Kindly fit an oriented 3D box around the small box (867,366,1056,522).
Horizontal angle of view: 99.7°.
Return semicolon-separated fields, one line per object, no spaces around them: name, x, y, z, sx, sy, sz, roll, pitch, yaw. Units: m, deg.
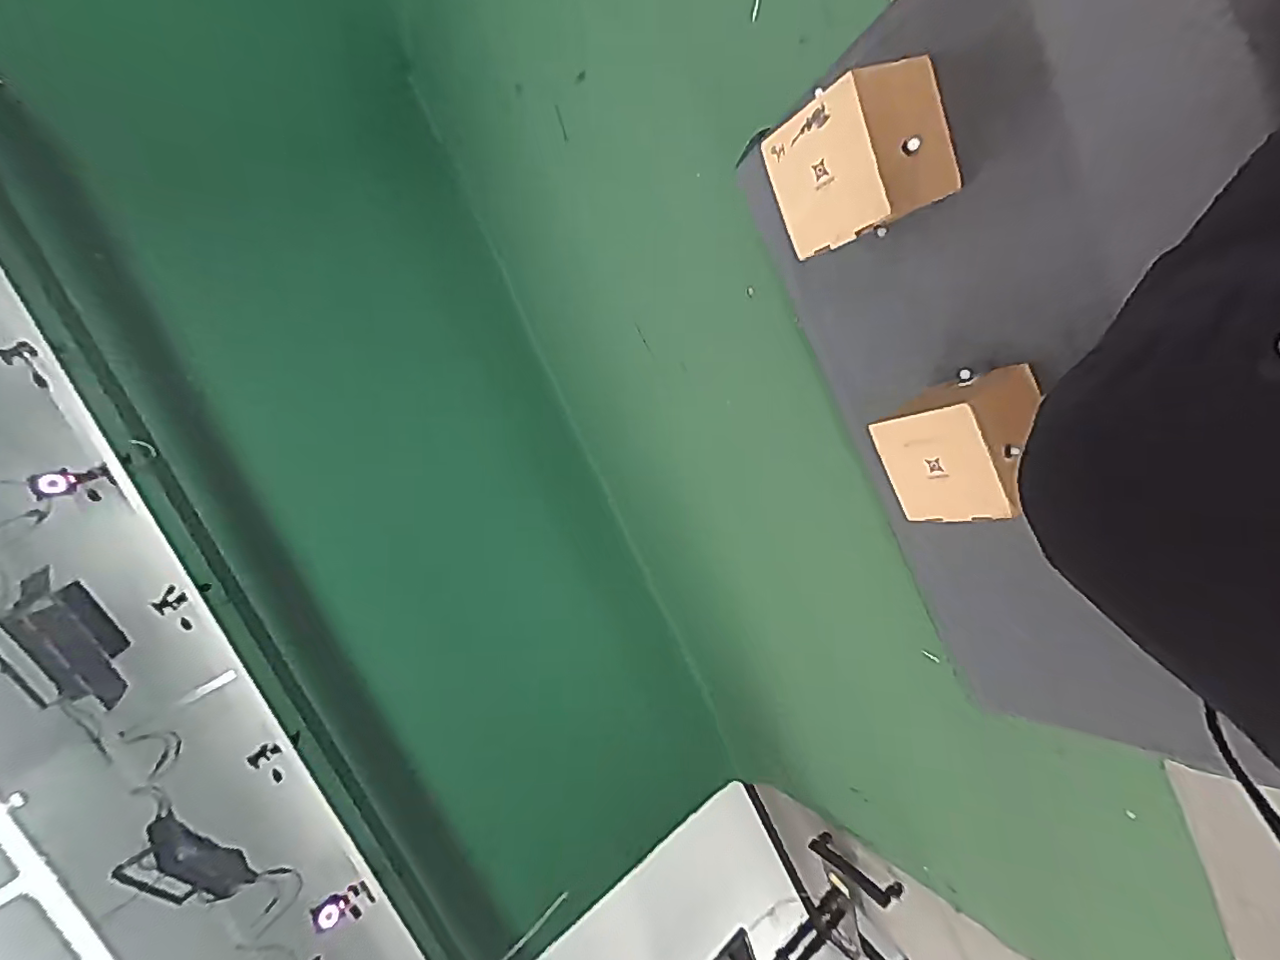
small box;0.496;-0.051;0.834;0.168;0.176;0.179;-14;103;63

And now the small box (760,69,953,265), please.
small box;0.310;-0.440;0.771;0.168;0.176;0.179;0;117;61
